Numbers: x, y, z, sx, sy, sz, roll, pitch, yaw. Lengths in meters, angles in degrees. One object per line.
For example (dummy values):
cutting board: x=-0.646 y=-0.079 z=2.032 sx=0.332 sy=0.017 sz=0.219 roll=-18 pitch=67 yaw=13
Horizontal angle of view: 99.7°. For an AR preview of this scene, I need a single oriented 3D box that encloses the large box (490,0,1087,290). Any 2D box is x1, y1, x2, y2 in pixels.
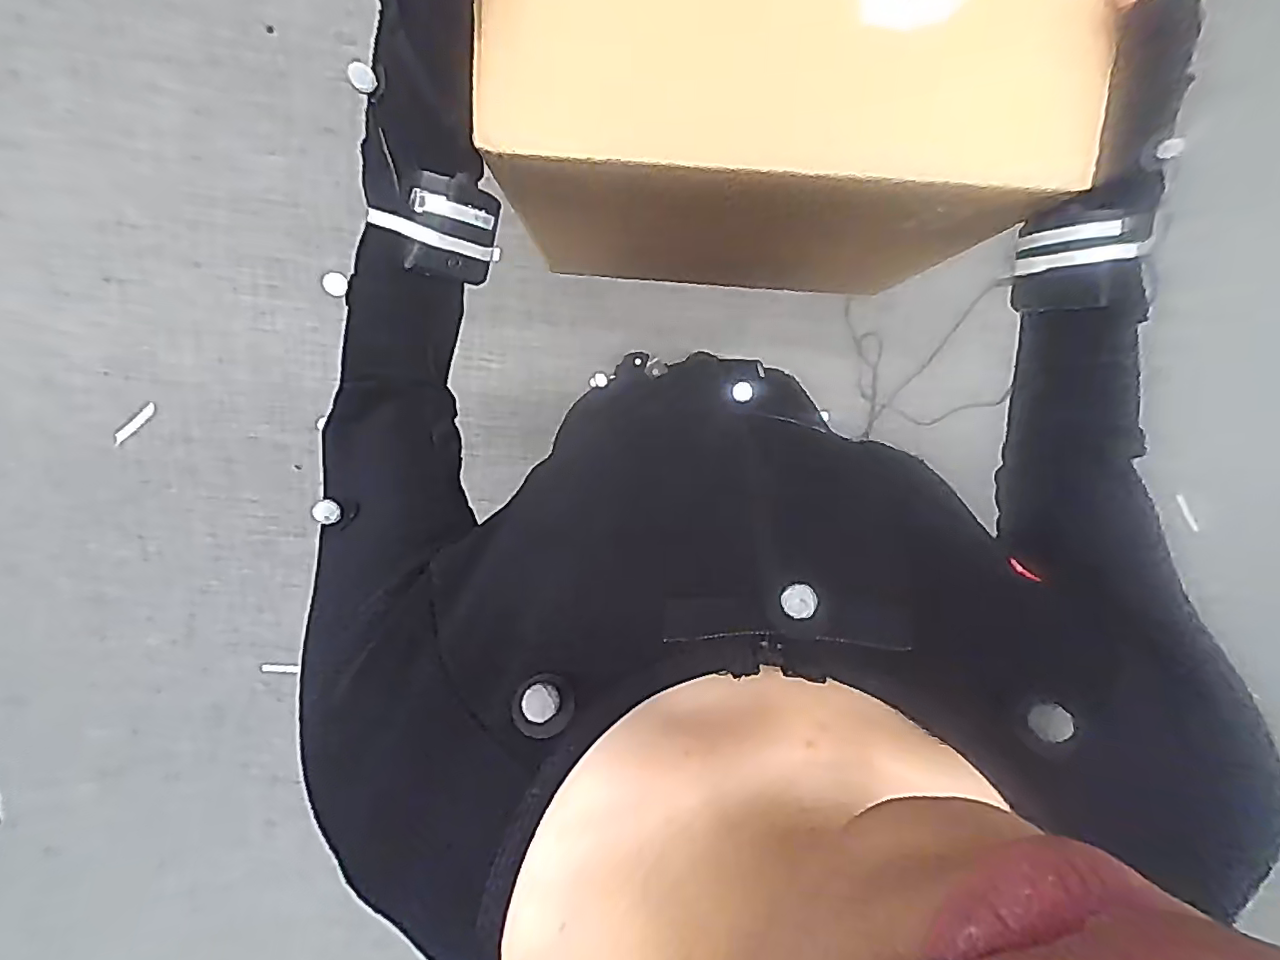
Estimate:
large box: x=0.097 y=-0.377 z=0.502 sx=0.408 sy=0.320 sz=0.320 roll=3 pitch=96 yaw=-1
